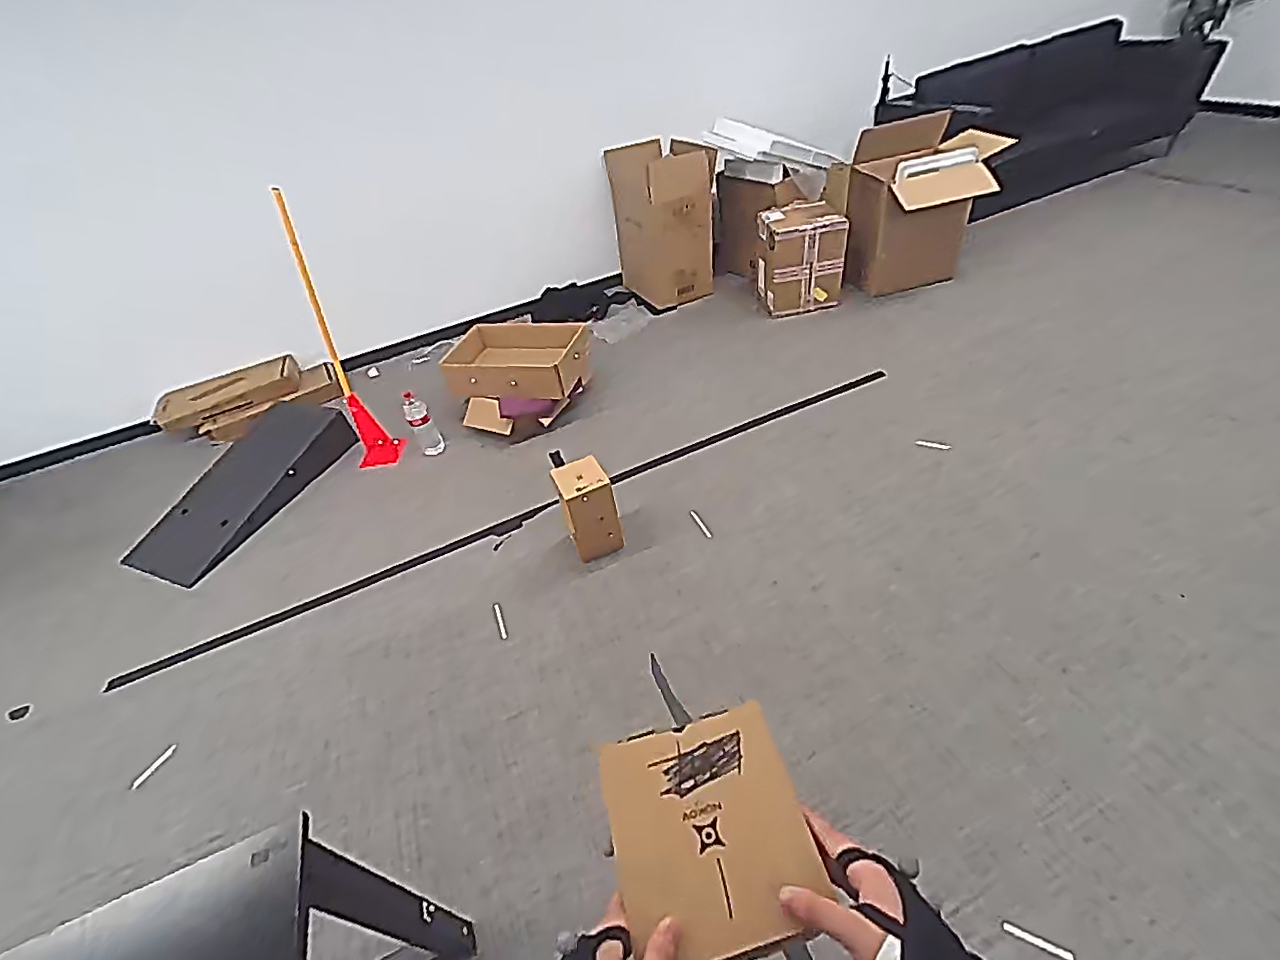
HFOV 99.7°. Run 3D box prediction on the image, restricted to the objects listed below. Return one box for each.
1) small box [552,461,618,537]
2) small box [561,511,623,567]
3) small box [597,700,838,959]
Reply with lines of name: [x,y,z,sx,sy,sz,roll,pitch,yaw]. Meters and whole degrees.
small box: [-0.194,0.067,1.905,0.168,0.176,0.179,-23,41,-14]
small box: [-0.172,0.189,2.013,0.179,0.176,0.168,-23,42,-12]
small box: [0.062,0.350,0.523,0.168,0.176,0.179,-14,45,-6]
